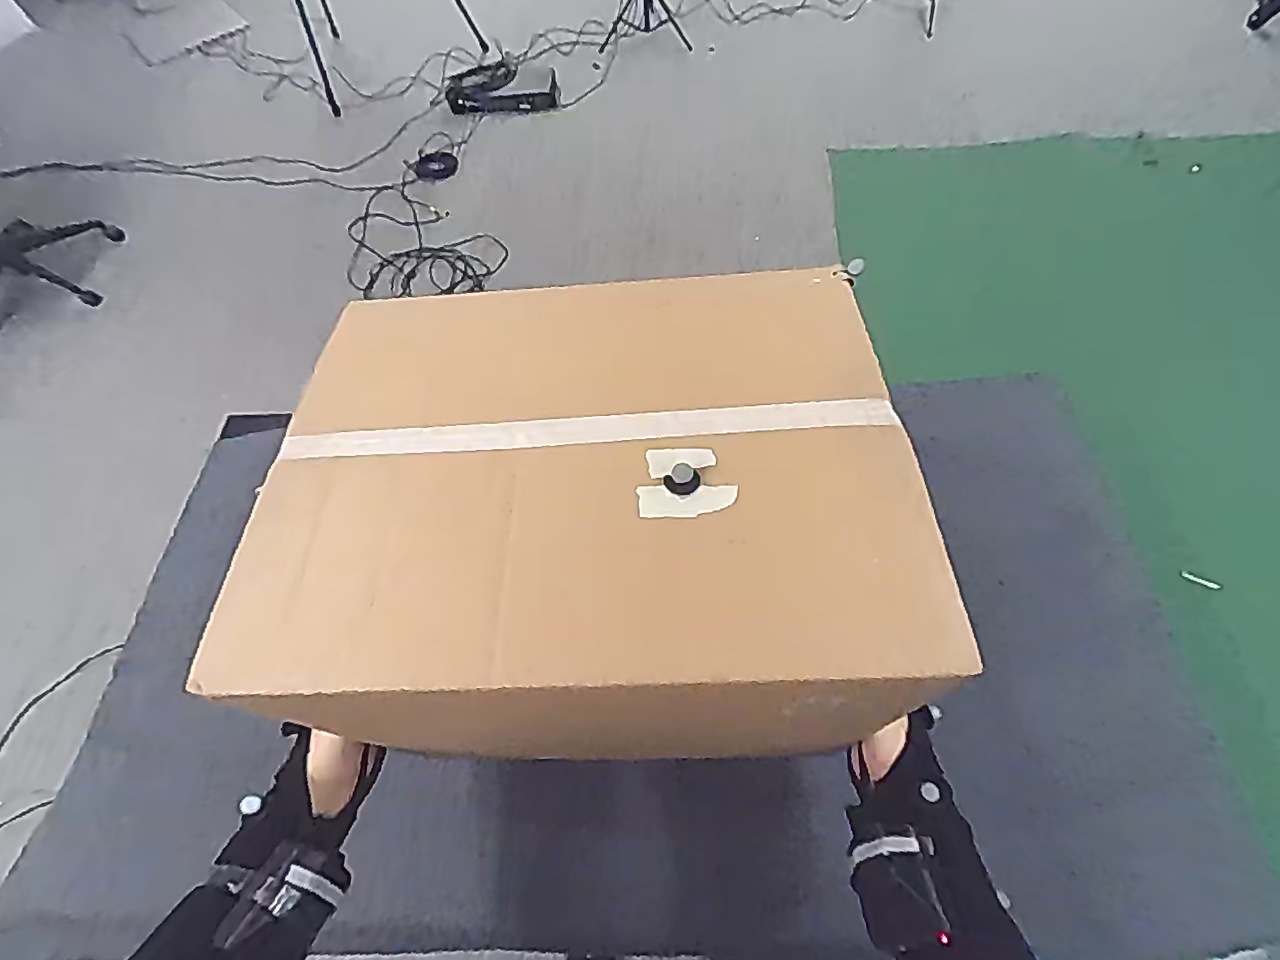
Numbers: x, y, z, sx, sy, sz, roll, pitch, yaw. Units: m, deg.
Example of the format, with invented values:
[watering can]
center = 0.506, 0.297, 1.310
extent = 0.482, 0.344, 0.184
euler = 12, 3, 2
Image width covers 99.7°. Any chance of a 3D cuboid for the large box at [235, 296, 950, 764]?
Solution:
[large box]
center = -0.025, 0.066, 0.498
extent = 0.408, 0.320, 0.320
euler = -3, 57, 3
